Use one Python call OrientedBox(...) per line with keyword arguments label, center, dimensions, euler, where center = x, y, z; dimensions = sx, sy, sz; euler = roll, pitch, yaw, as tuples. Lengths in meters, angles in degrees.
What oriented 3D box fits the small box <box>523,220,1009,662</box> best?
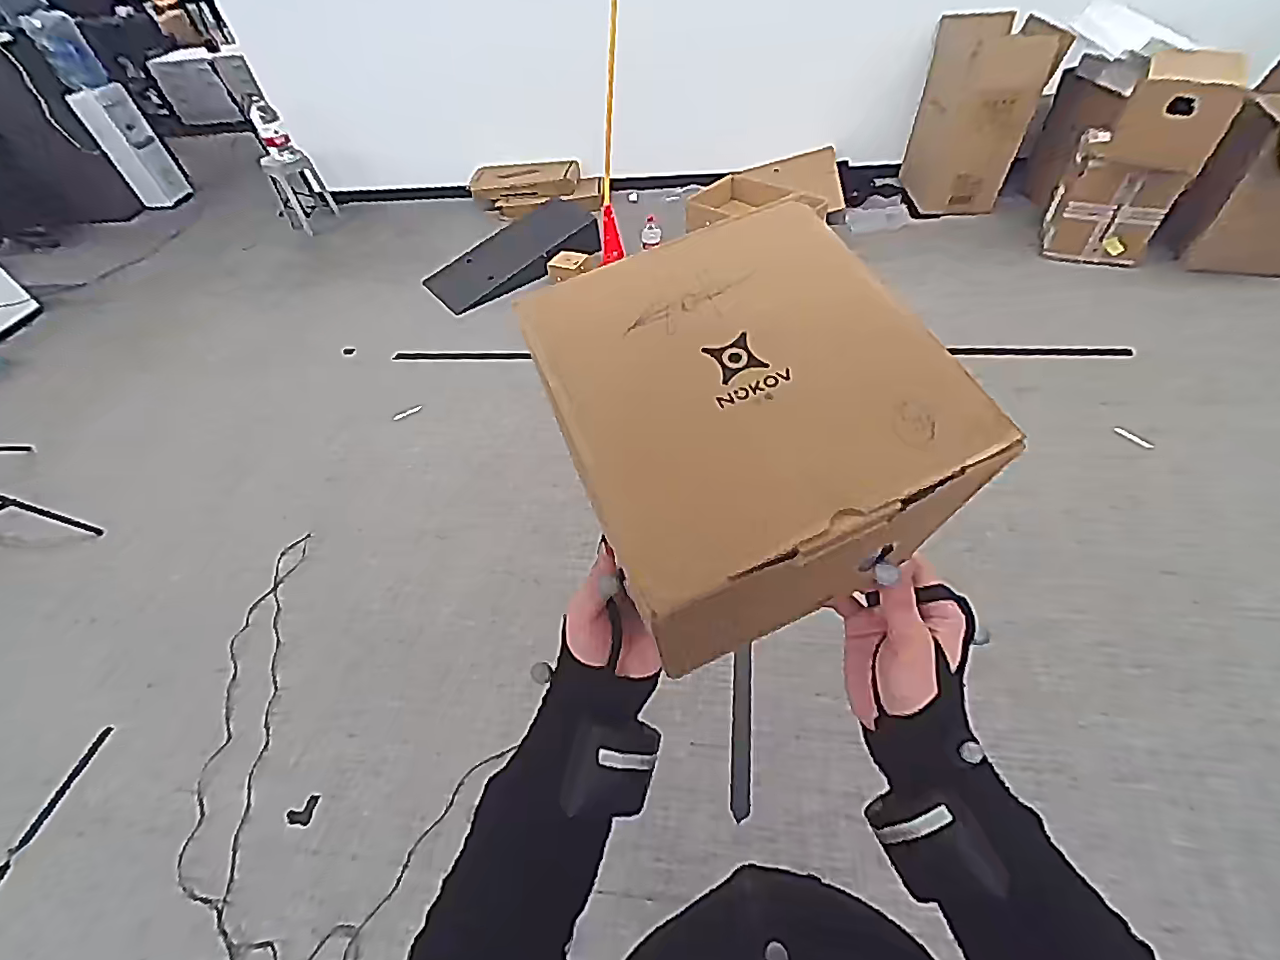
OrientedBox(label="small box", center=(0.054, -0.008, 0.322), dimensions=(0.168, 0.176, 0.179), euler=(-24, 62, -8))
